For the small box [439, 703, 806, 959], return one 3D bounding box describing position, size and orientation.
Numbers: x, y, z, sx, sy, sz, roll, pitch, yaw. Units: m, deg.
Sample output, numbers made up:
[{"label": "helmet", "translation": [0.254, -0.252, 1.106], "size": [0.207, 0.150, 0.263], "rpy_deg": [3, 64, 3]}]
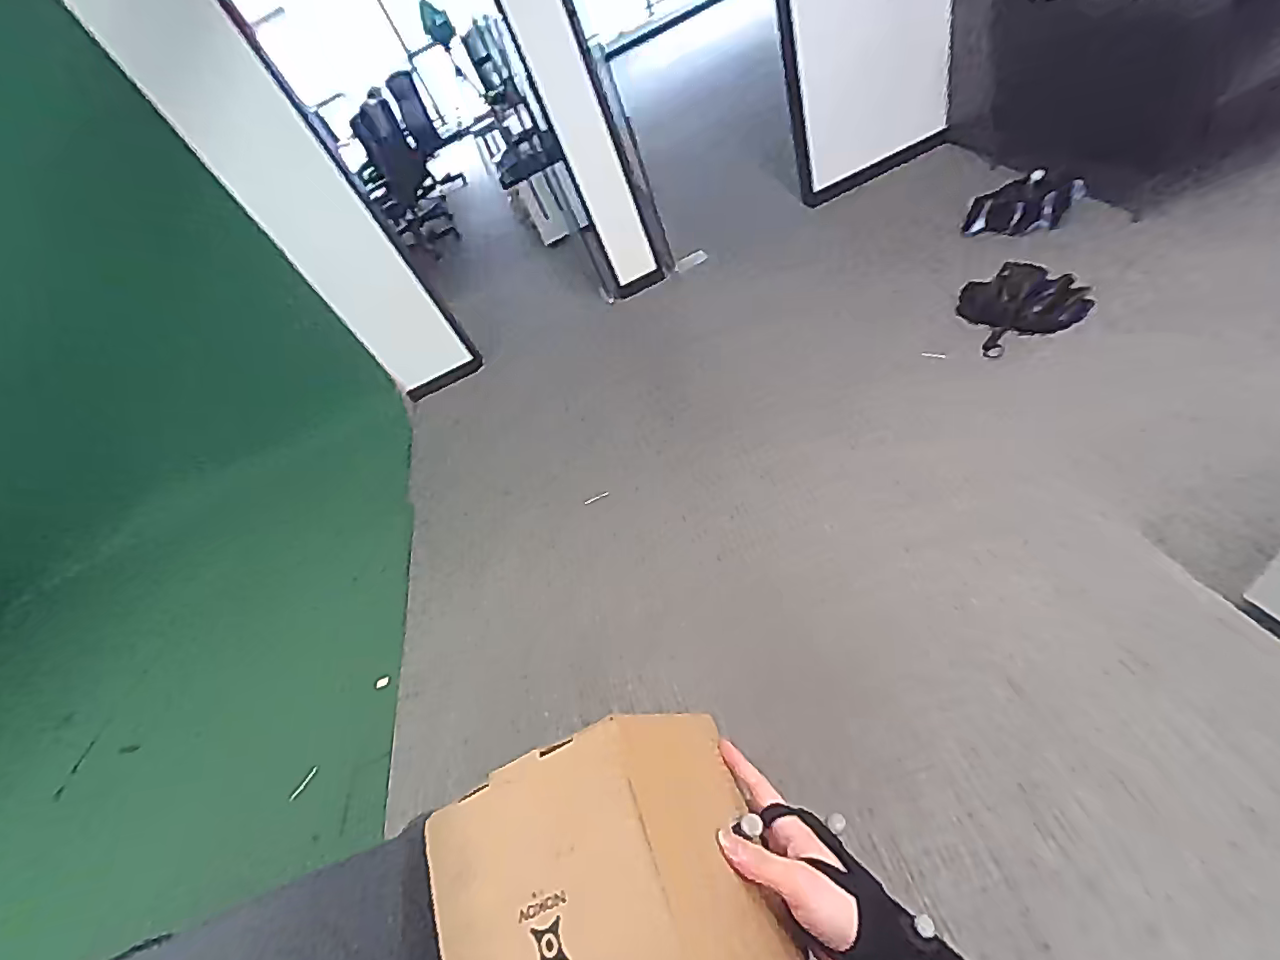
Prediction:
[{"label": "small box", "translation": [-0.009, 0.279, 0.383], "size": [0.168, 0.176, 0.179], "rpy_deg": [-34, 57, 14]}]
